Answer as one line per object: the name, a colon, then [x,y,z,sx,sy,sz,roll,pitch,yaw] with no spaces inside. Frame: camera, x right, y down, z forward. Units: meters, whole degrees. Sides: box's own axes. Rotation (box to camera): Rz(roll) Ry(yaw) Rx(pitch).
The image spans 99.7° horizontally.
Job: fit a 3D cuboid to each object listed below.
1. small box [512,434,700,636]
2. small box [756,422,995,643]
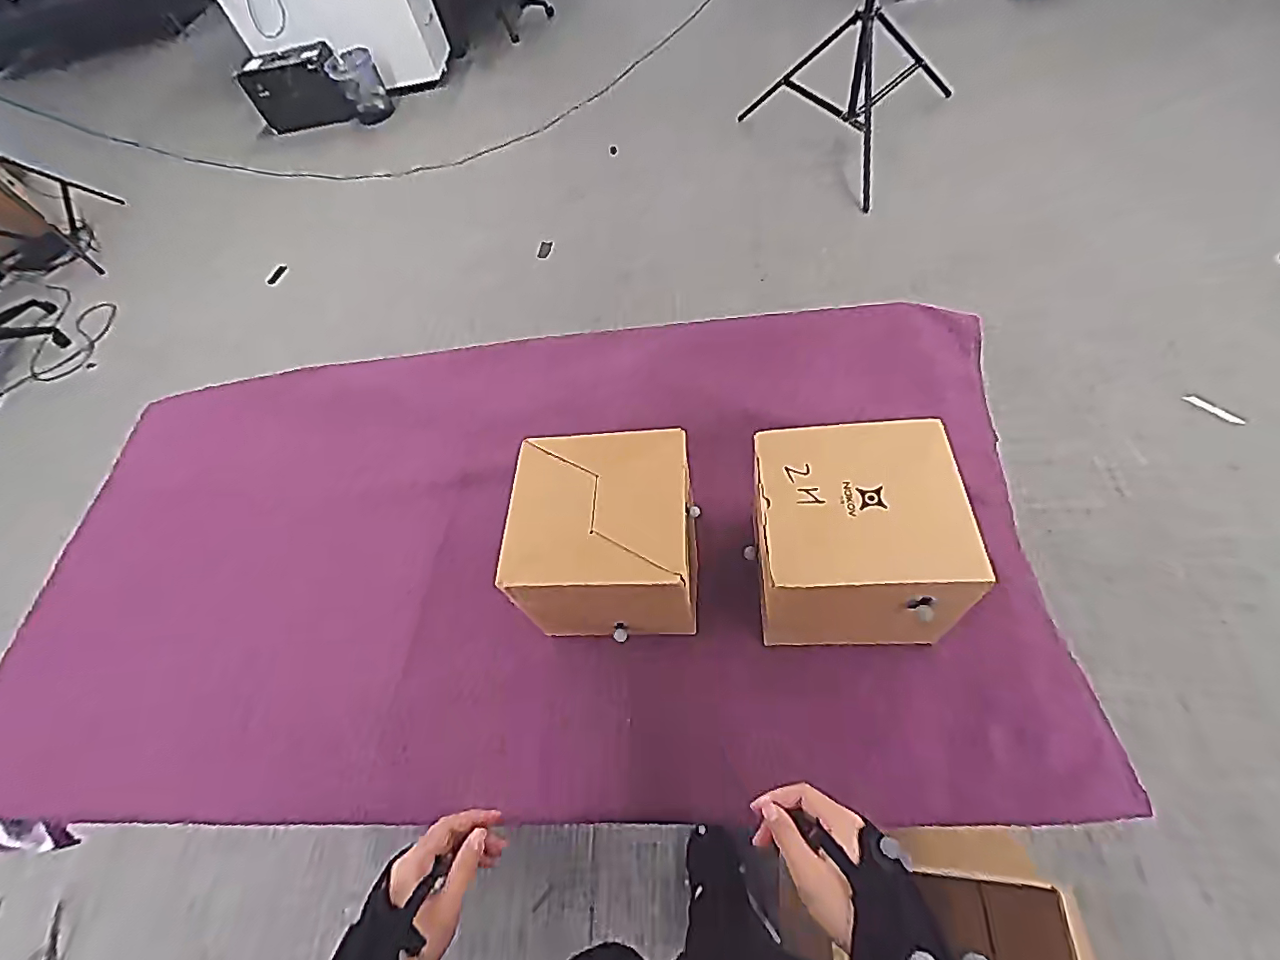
small box: [-0.028,0.065,0.593,0.179,0.176,0.168,-3,57,10]
small box: [0.214,0.060,0.551,0.179,0.176,0.168,-3,56,9]
